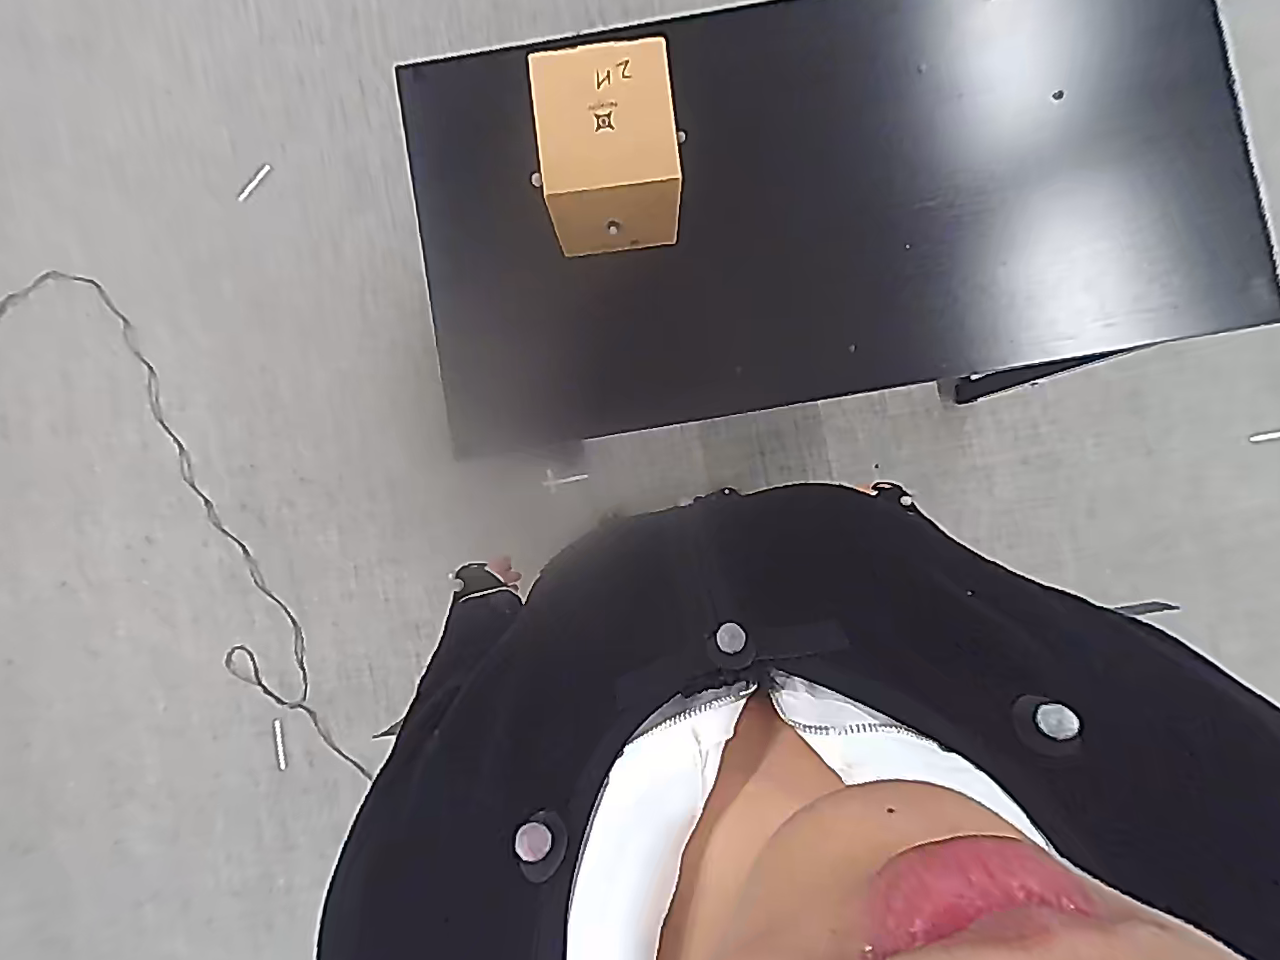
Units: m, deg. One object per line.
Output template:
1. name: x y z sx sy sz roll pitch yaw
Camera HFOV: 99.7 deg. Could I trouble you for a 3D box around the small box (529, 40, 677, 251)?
1. small box: -0.041 -0.425 0.721 0.168 0.176 0.179 -7 87 1
